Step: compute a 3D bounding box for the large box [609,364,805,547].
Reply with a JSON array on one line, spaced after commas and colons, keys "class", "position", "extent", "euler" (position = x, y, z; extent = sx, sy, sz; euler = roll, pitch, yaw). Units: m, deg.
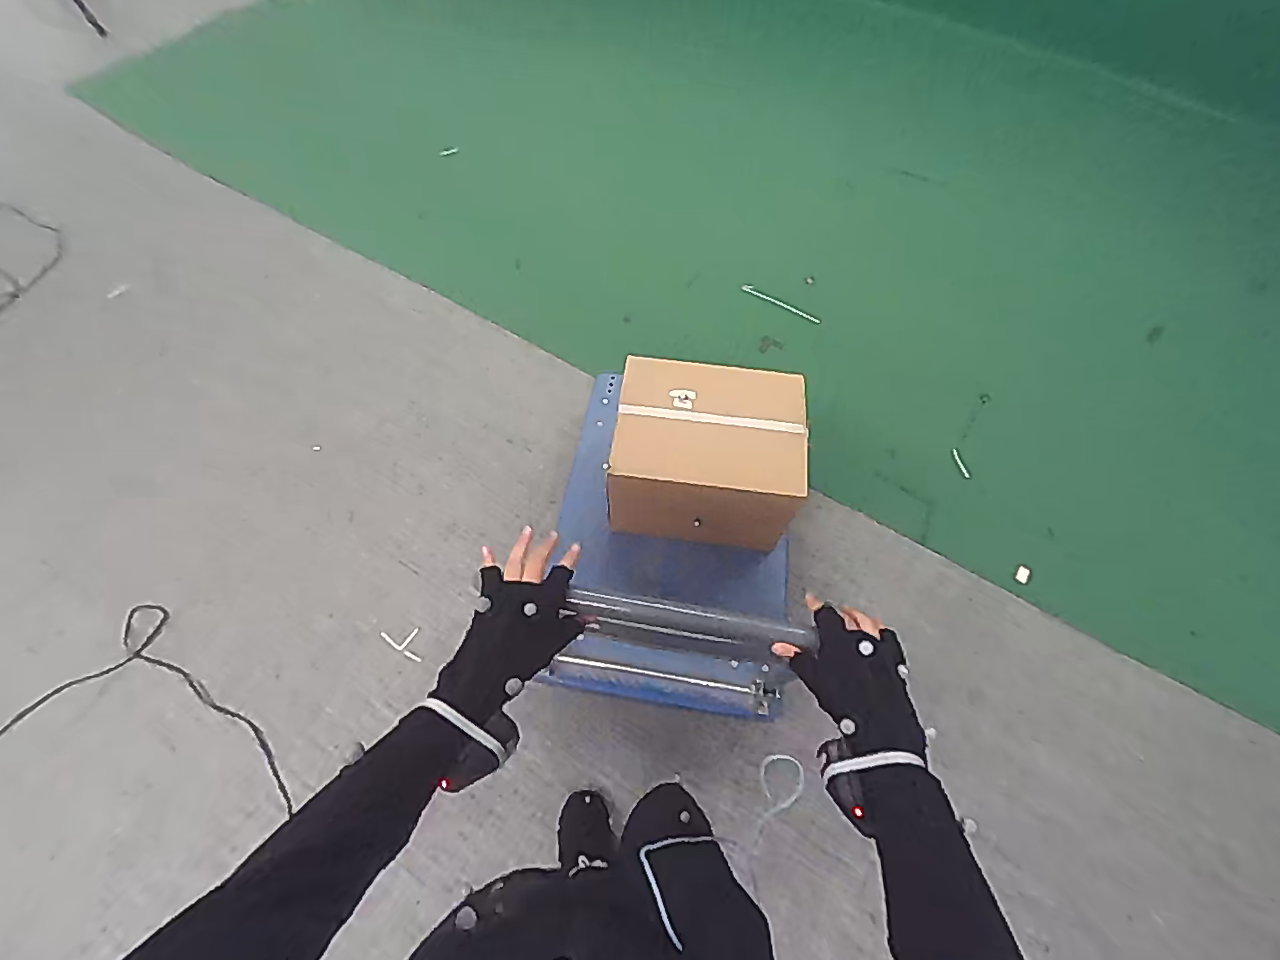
[{"class": "large box", "position": [0.148, -0.046, 1.293], "extent": [0.408, 0.320, 0.320], "euler": [6, 61, 2]}]
